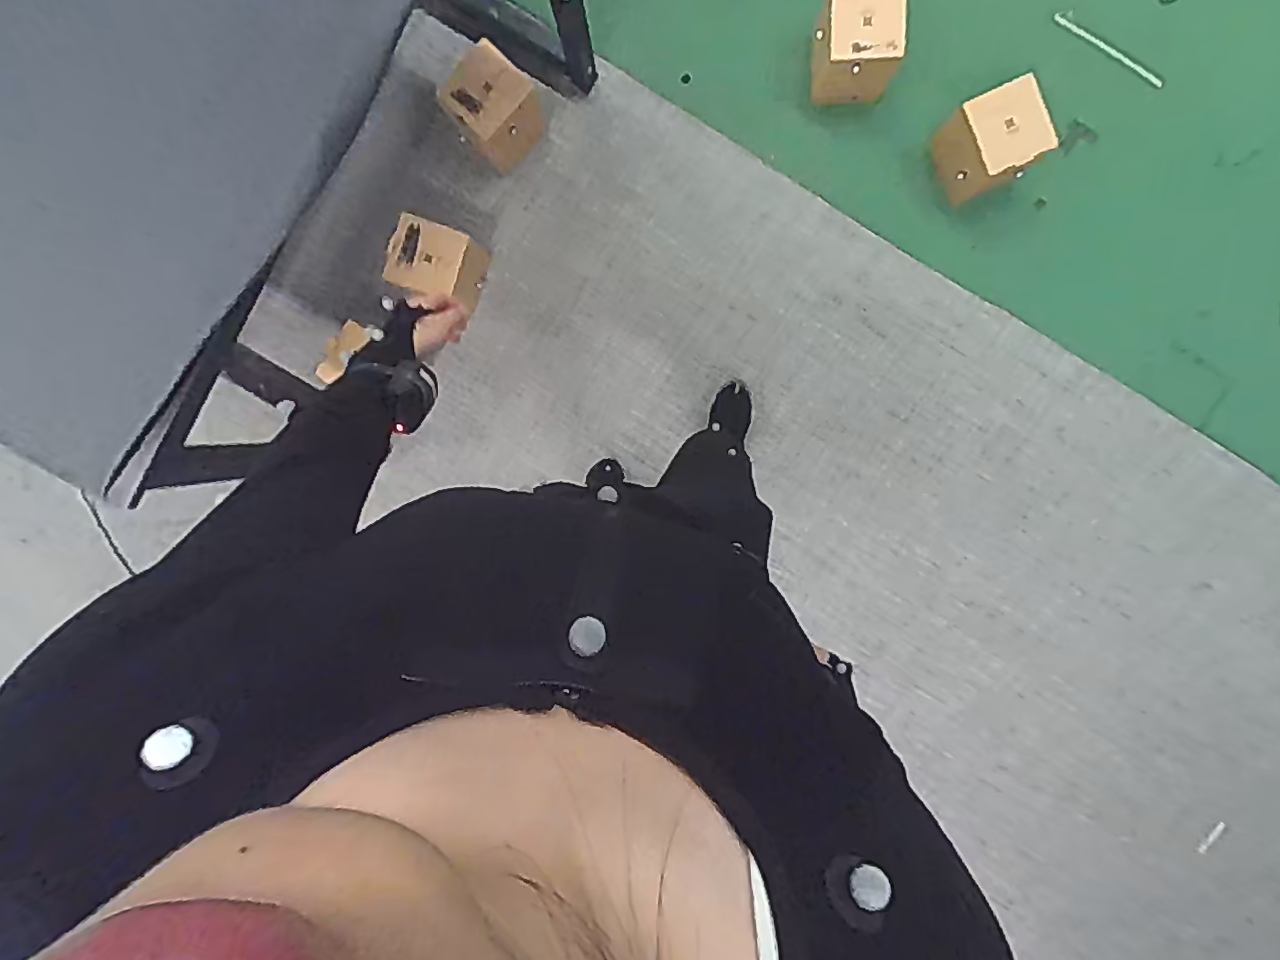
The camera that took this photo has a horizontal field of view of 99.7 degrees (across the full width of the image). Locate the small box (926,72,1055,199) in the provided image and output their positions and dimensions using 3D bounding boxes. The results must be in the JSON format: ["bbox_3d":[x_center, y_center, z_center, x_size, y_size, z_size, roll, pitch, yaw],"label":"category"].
[{"bbox_3d":[0.823,-0.801,1.285,0.168,0.176,0.179,-24,93,3],"label":"small box"}]

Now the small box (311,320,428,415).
[{"bbox_3d":[-0.686,-0.284,1.395,0.179,0.176,0.168,35,96,-1],"label":"small box"}]

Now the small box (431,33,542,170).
[{"bbox_3d":[-0.363,-0.908,1.319,0.168,0.176,0.179,44,94,-3],"label":"small box"}]

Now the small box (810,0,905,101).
[{"bbox_3d":[0.504,-1.036,1.275,0.168,0.176,0.179,-1,95,2],"label":"small box"}]
